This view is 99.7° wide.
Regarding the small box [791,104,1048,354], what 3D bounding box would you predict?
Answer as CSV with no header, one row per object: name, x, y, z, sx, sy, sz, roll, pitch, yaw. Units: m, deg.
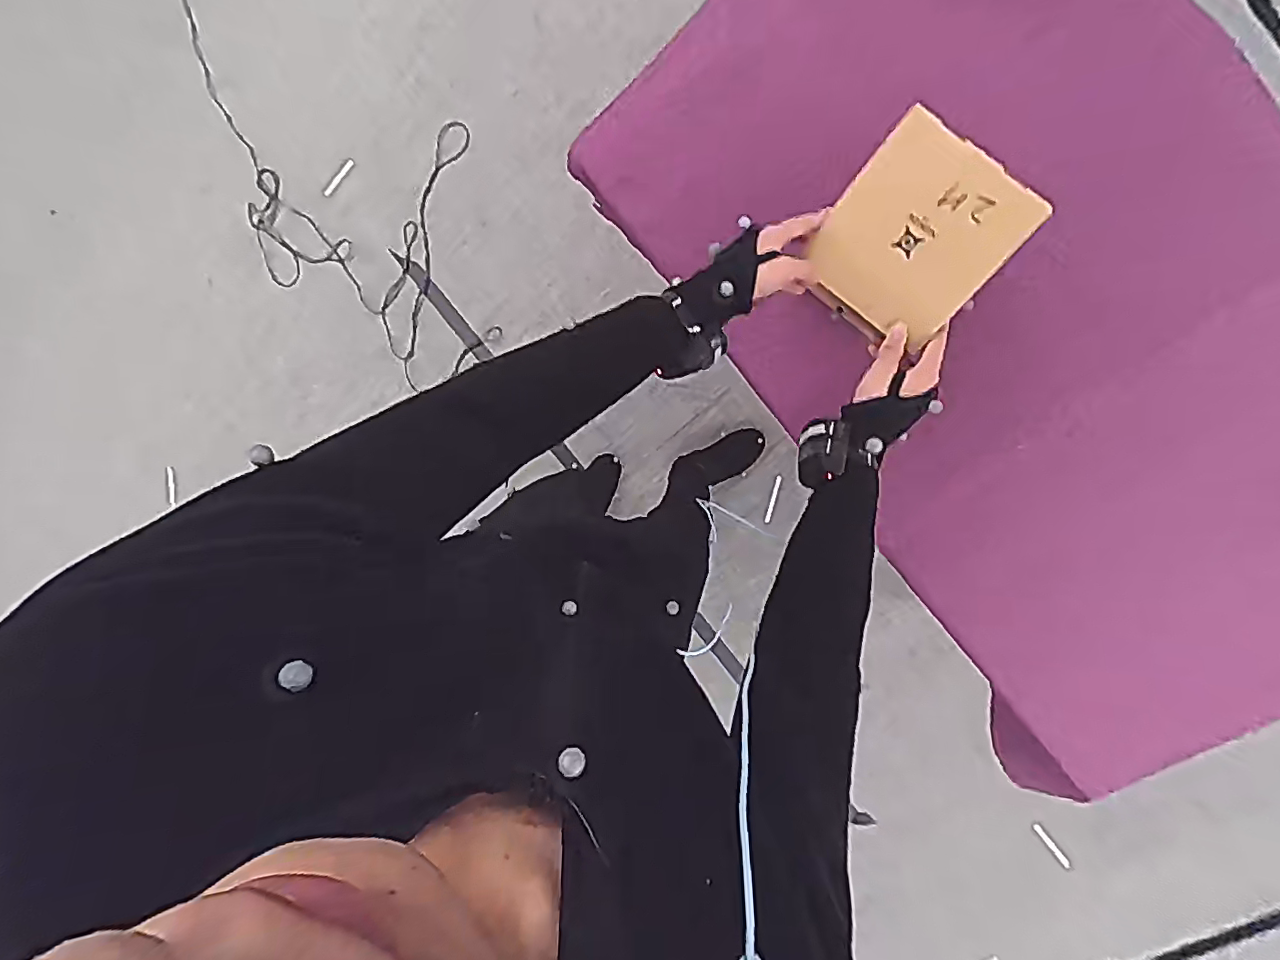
small box,0.294,-0.263,0.613,0.168,0.176,0.179,41,111,2
